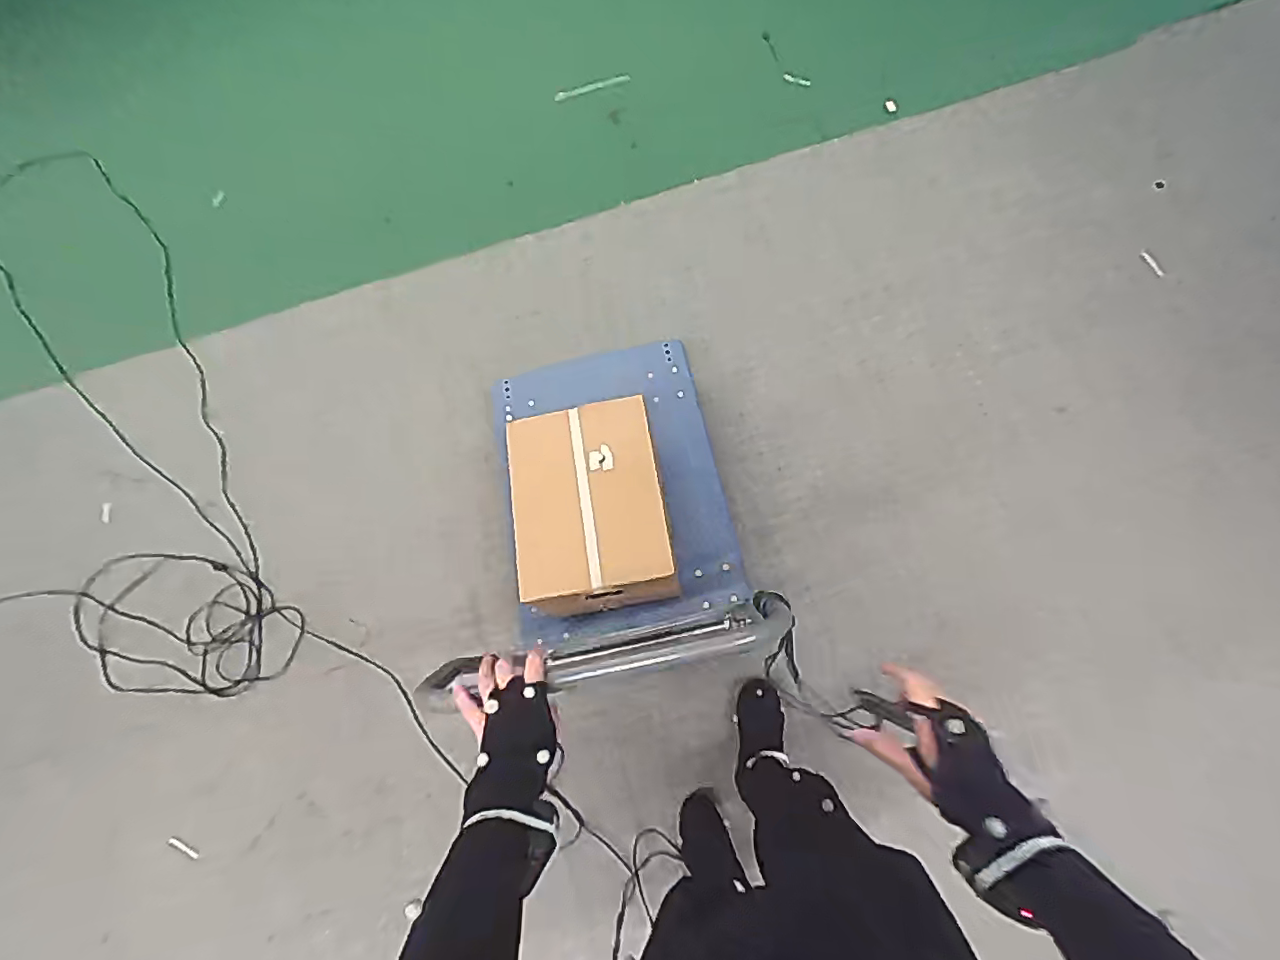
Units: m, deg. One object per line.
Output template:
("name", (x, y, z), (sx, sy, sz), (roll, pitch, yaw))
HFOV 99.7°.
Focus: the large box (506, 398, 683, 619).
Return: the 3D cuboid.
("large box", (-0.094, 0.082, 1.248), (0.320, 0.320, 0.408), (-11, 70, 2))
